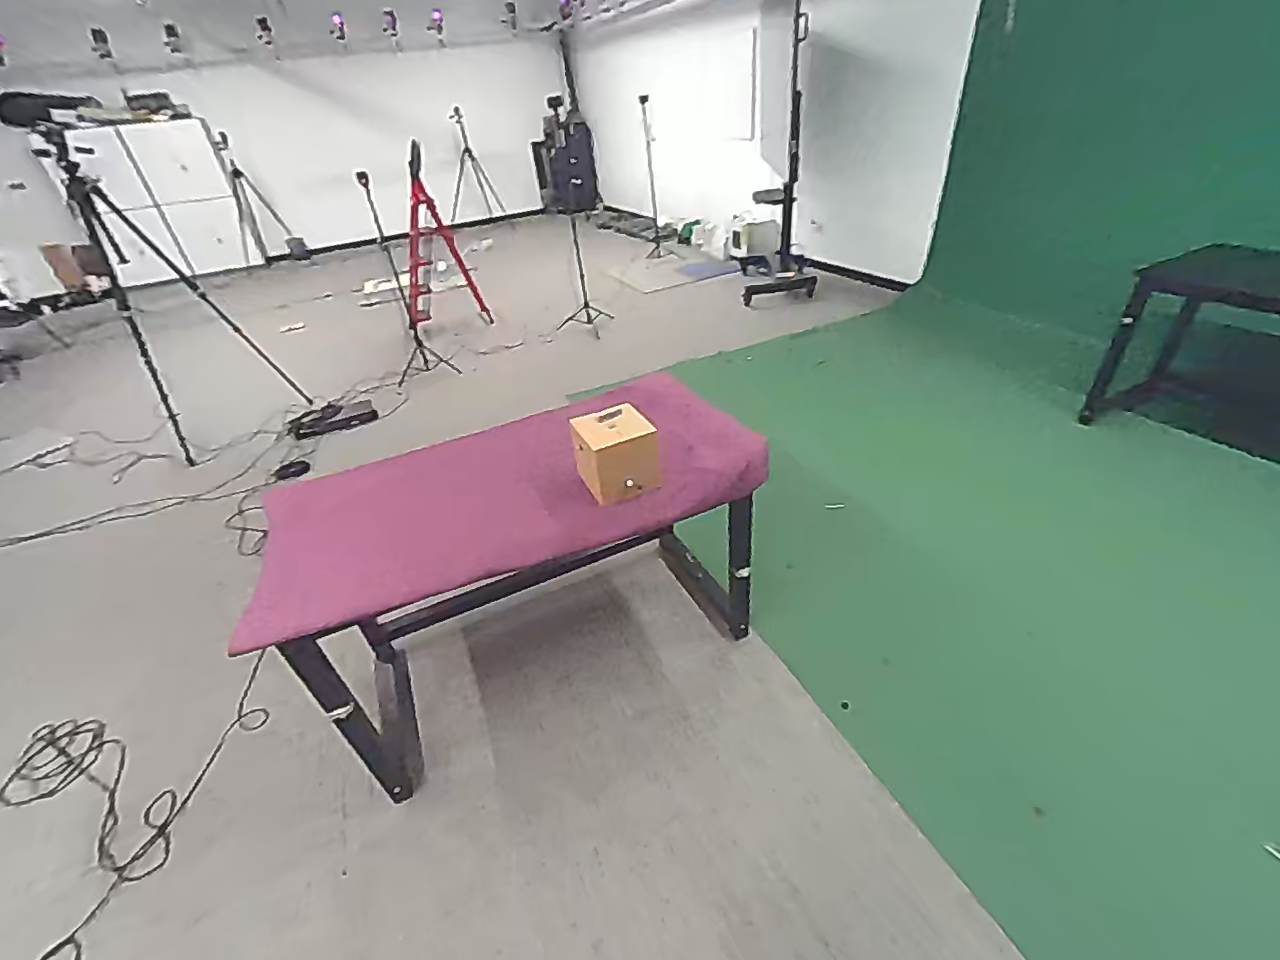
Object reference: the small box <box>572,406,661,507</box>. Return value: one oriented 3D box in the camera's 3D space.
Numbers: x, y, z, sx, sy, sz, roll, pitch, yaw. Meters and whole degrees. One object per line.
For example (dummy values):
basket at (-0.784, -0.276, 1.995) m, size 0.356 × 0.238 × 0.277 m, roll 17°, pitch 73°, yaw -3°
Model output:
small box at (-0.059, -0.060, 1.361) m, size 0.168 × 0.176 × 0.179 m, roll -19°, pitch 37°, yaw -17°
